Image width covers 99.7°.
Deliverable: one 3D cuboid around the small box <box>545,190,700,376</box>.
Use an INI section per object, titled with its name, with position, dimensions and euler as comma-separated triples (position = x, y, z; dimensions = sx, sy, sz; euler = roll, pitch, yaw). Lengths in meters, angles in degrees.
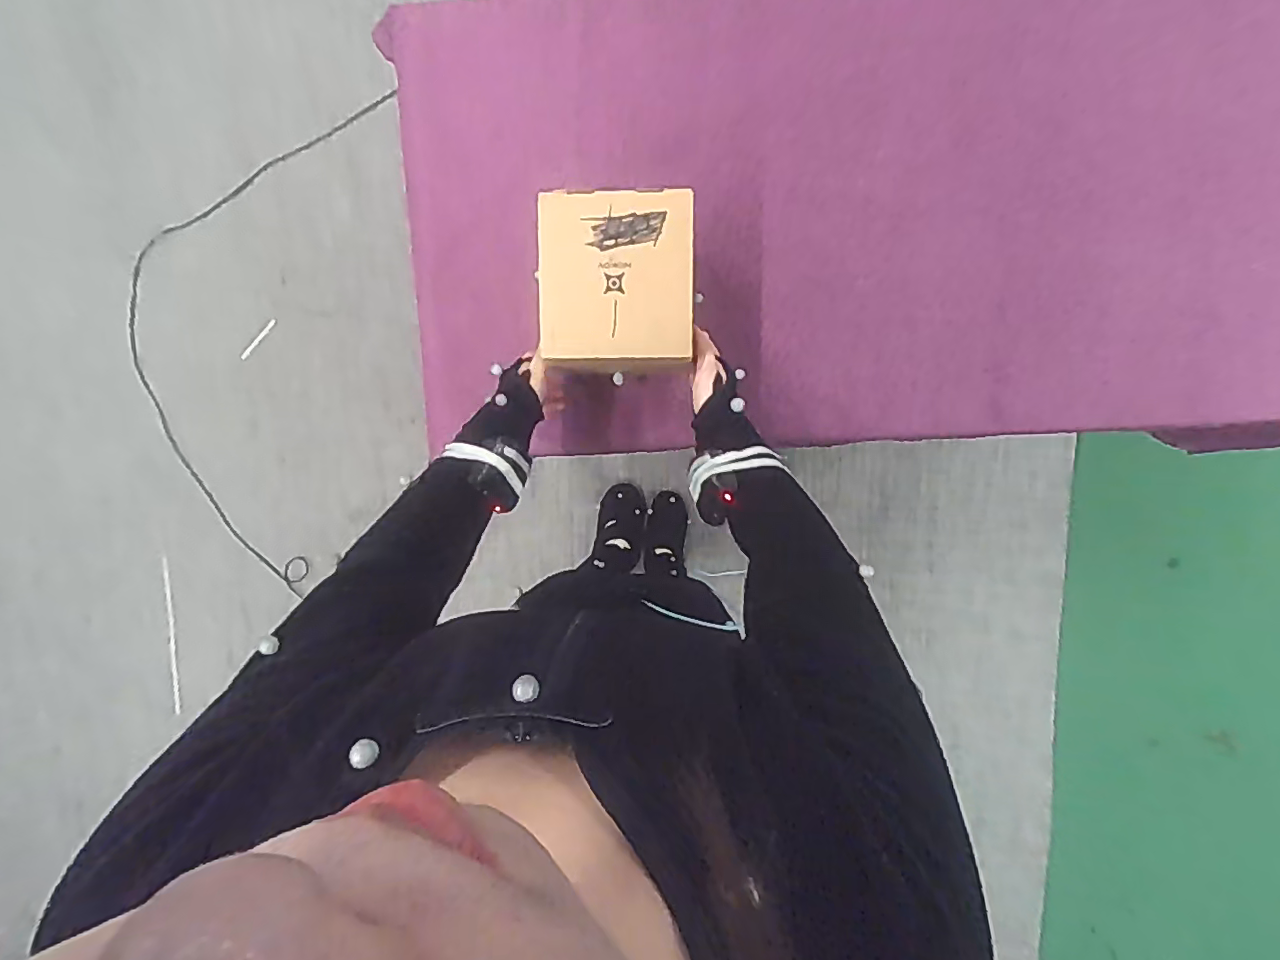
[small box]
position = -0.018, -0.224, 0.653
dimensions = 0.168, 0.176, 0.179
euler = 1, 96, 2
